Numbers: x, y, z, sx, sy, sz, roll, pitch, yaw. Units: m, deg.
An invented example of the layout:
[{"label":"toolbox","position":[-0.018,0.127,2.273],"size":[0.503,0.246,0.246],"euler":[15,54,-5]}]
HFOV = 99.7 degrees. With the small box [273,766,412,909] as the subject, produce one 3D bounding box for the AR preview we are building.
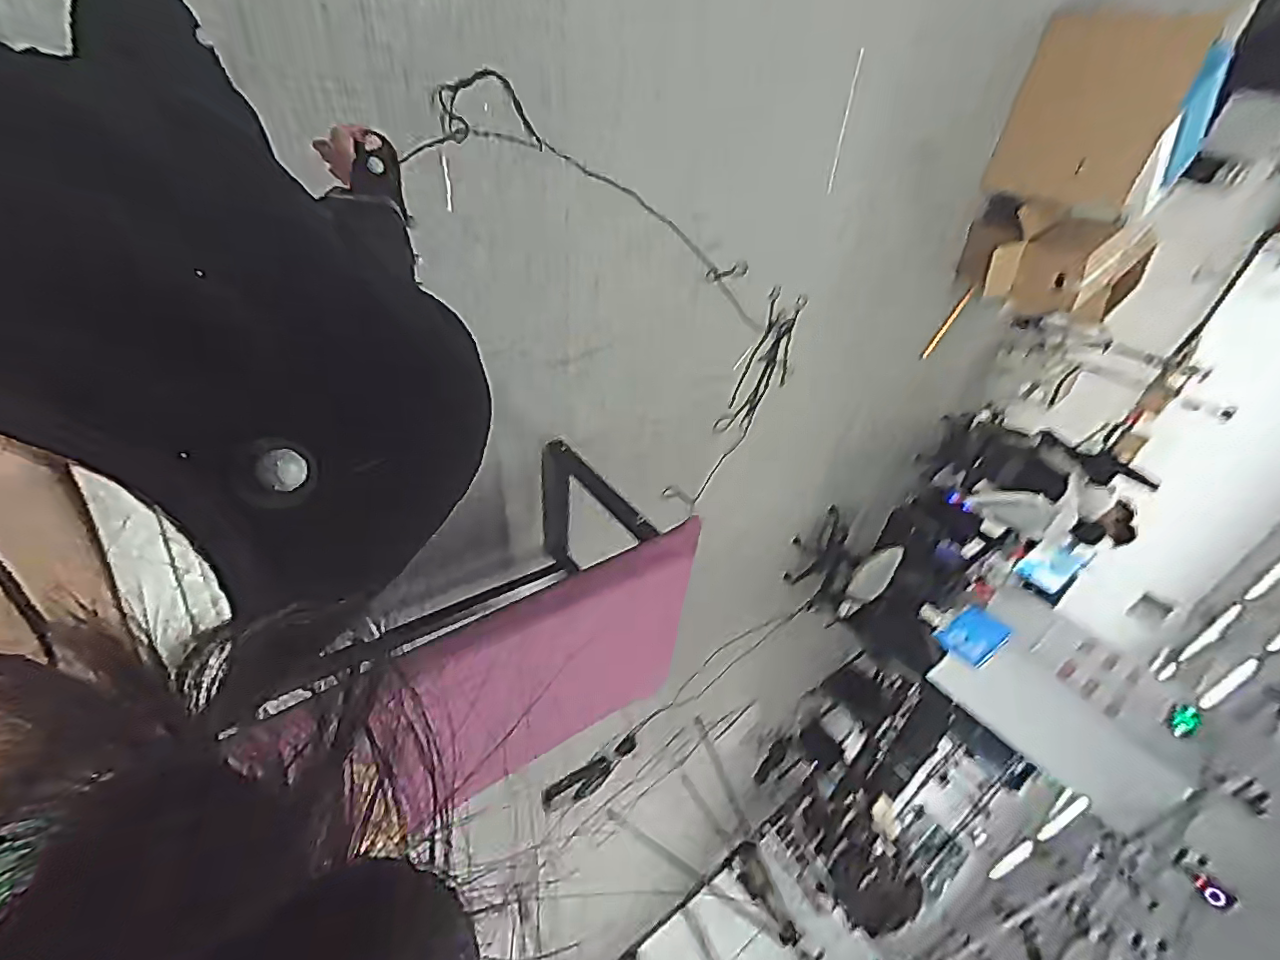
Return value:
[{"label":"small box","position":[-0.615,0.734,1.119],"size":[0.179,0.176,0.168],"euler":[-35,140,-17]}]
